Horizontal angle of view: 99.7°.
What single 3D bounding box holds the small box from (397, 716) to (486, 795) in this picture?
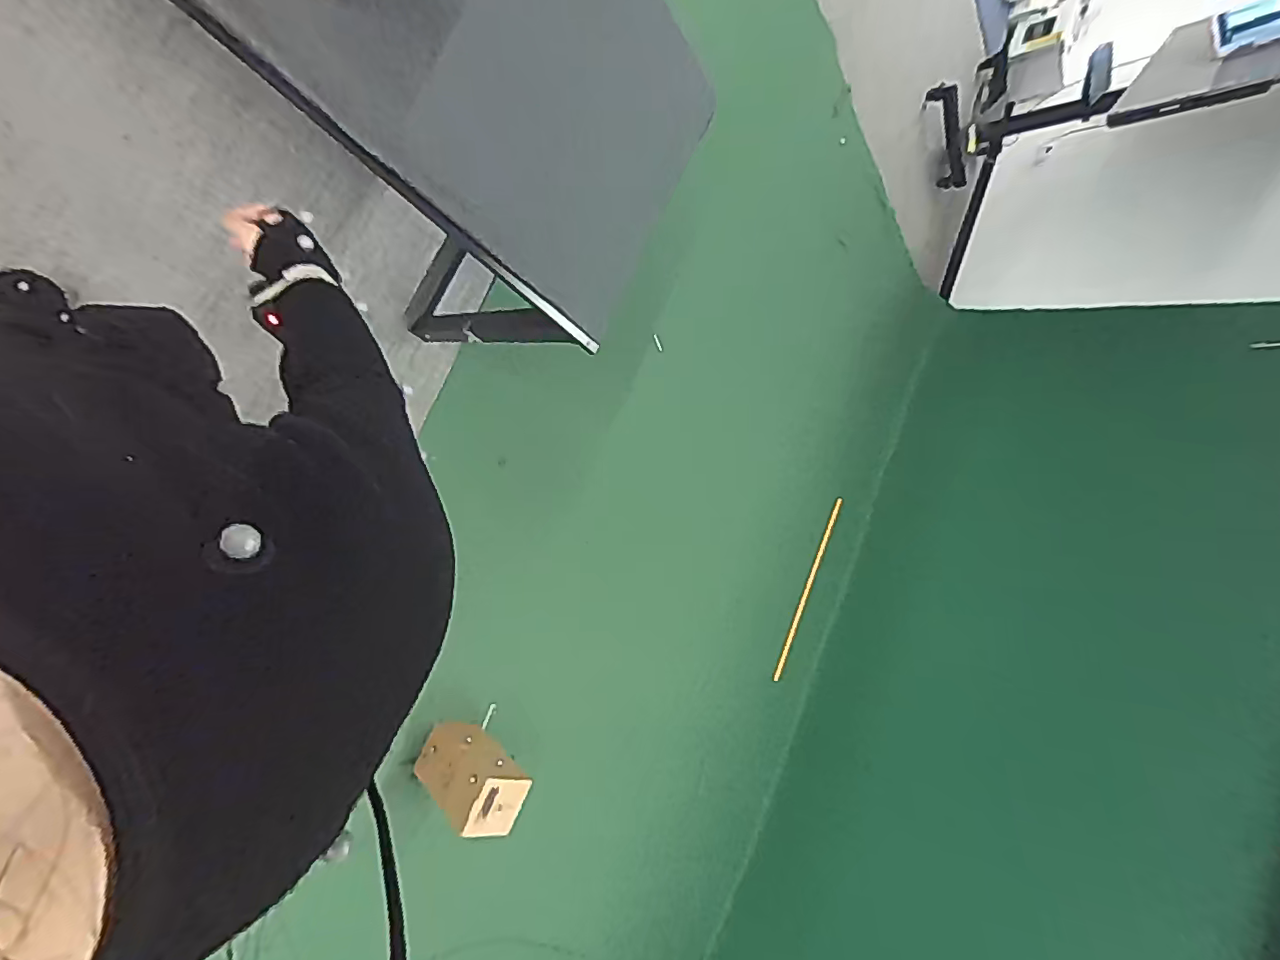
[{"bbox_3d":[-0.634,0.877,1.724,0.179,0.176,0.168,36,75,-45],"label":"small box"}]
